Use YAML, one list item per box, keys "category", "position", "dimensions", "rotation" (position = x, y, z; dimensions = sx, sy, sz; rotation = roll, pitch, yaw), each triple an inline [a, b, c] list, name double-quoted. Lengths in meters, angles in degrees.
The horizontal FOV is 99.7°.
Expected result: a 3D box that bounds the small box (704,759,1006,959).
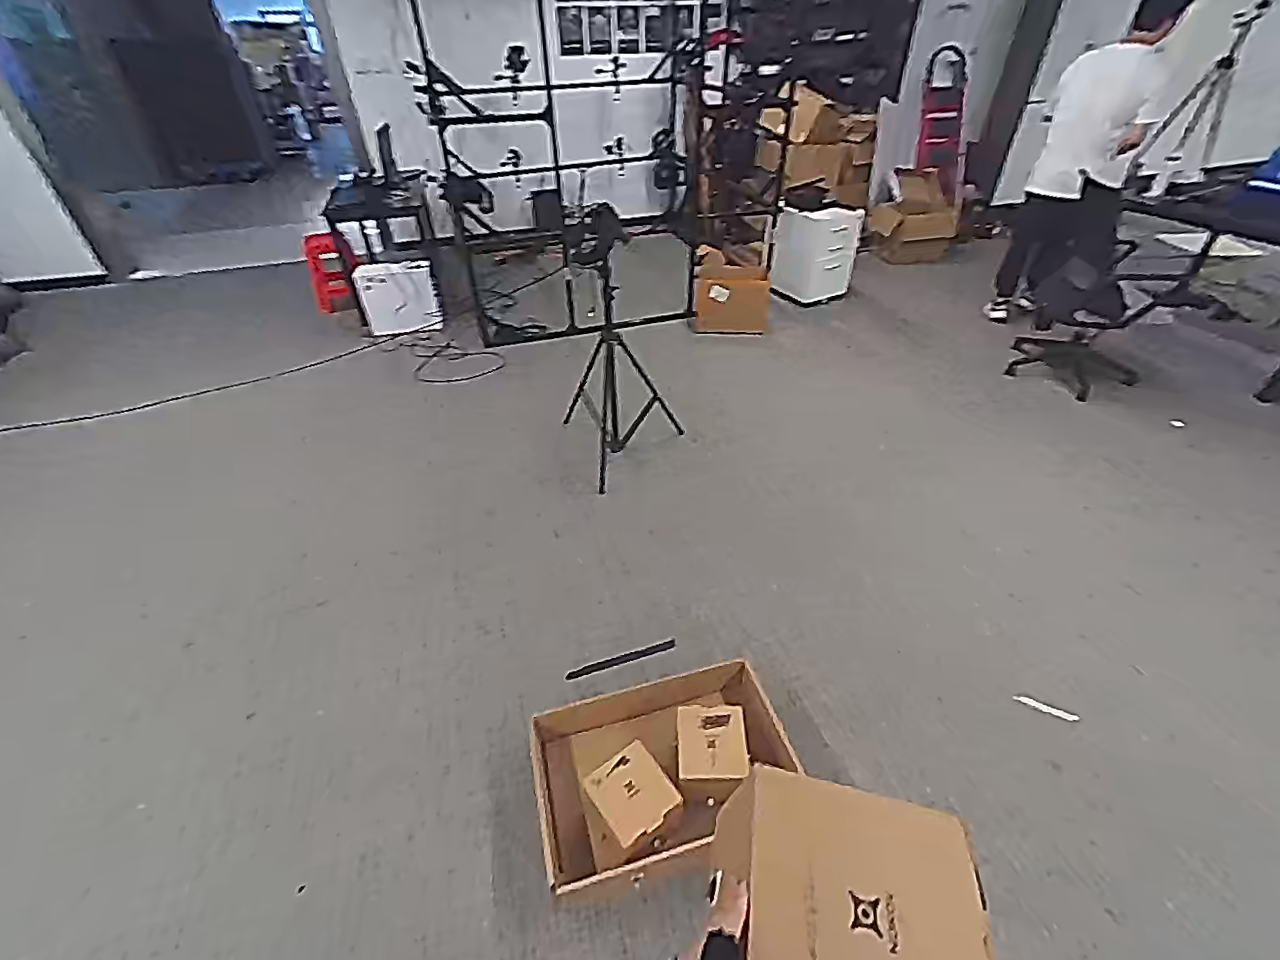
- category: "small box"
  position: [0.157, 0.356, 0.431]
  dimensions: [0.179, 0.176, 0.168]
  rotation: [12, 43, 4]
